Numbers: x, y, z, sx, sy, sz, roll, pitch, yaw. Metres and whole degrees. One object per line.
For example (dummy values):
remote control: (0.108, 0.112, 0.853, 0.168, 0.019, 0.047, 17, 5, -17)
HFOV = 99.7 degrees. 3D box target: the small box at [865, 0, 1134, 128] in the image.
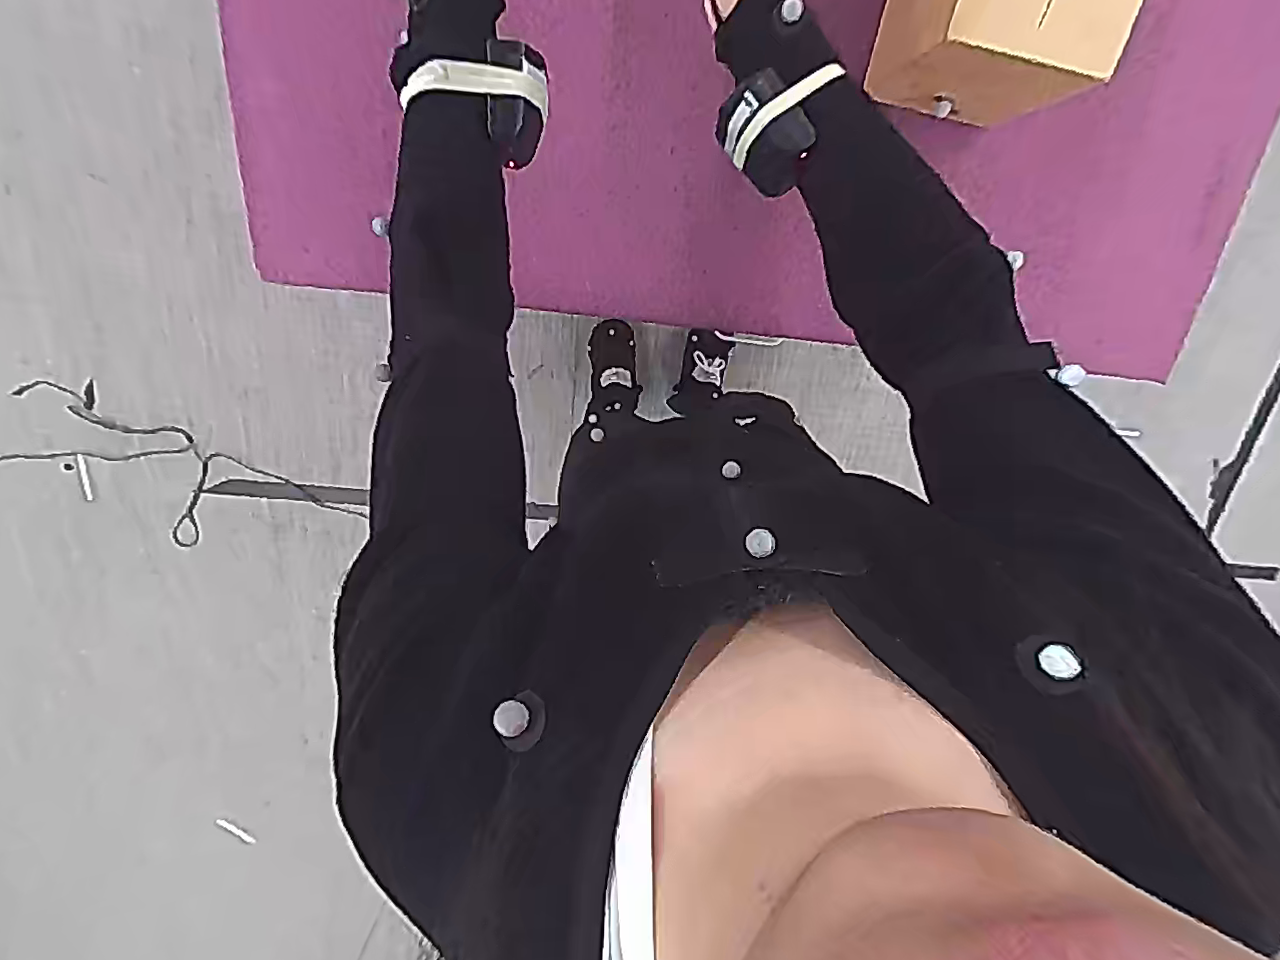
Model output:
small box: (0.351, -0.482, 0.531, 0.168, 0.176, 0.179, 8, 110, -7)
